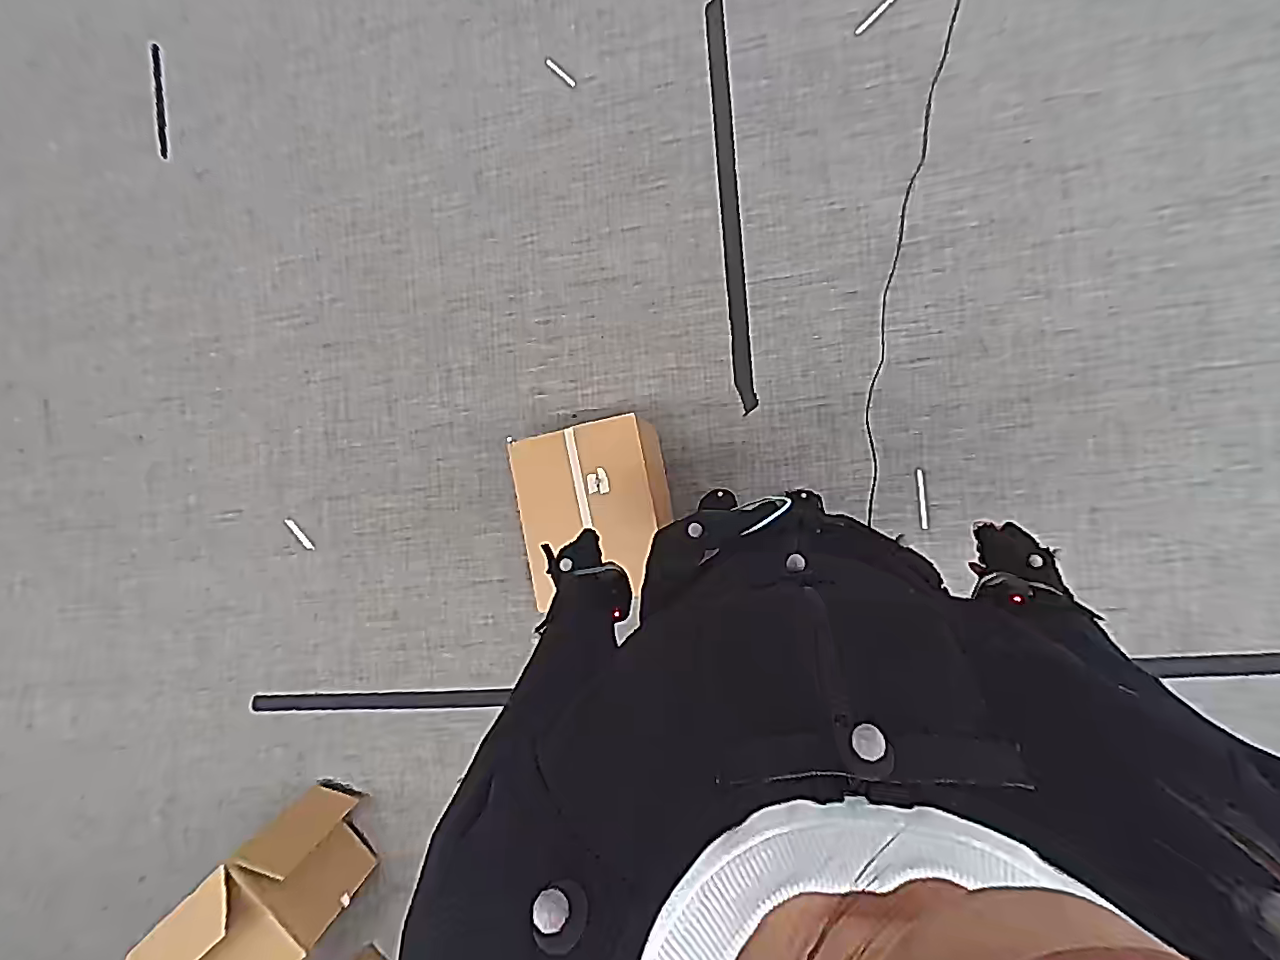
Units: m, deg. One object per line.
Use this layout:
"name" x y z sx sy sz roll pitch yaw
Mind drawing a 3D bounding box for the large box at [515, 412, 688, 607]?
"large box" -0.081 0.077 1.379 0.320 0.320 0.408 -12 85 10
